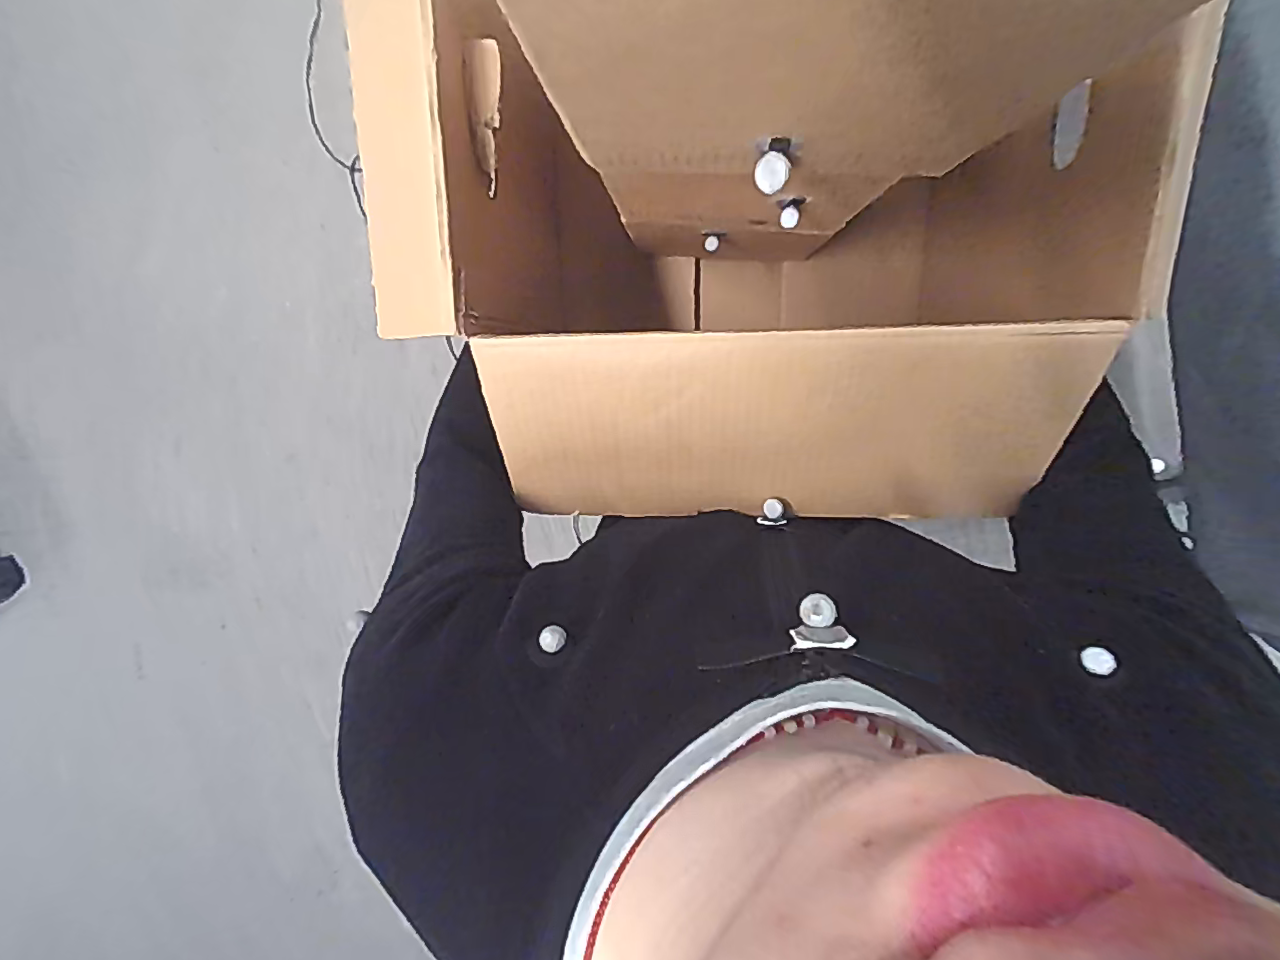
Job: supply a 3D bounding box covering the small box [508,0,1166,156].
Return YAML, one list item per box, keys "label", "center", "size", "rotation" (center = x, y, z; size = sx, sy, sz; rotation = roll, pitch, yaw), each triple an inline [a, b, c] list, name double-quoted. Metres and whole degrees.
- label: "small box"
  center: [0.054, -0.214, 0.160]
  size: [0.179, 0.176, 0.168]
  rotation: [4, 105, 3]
